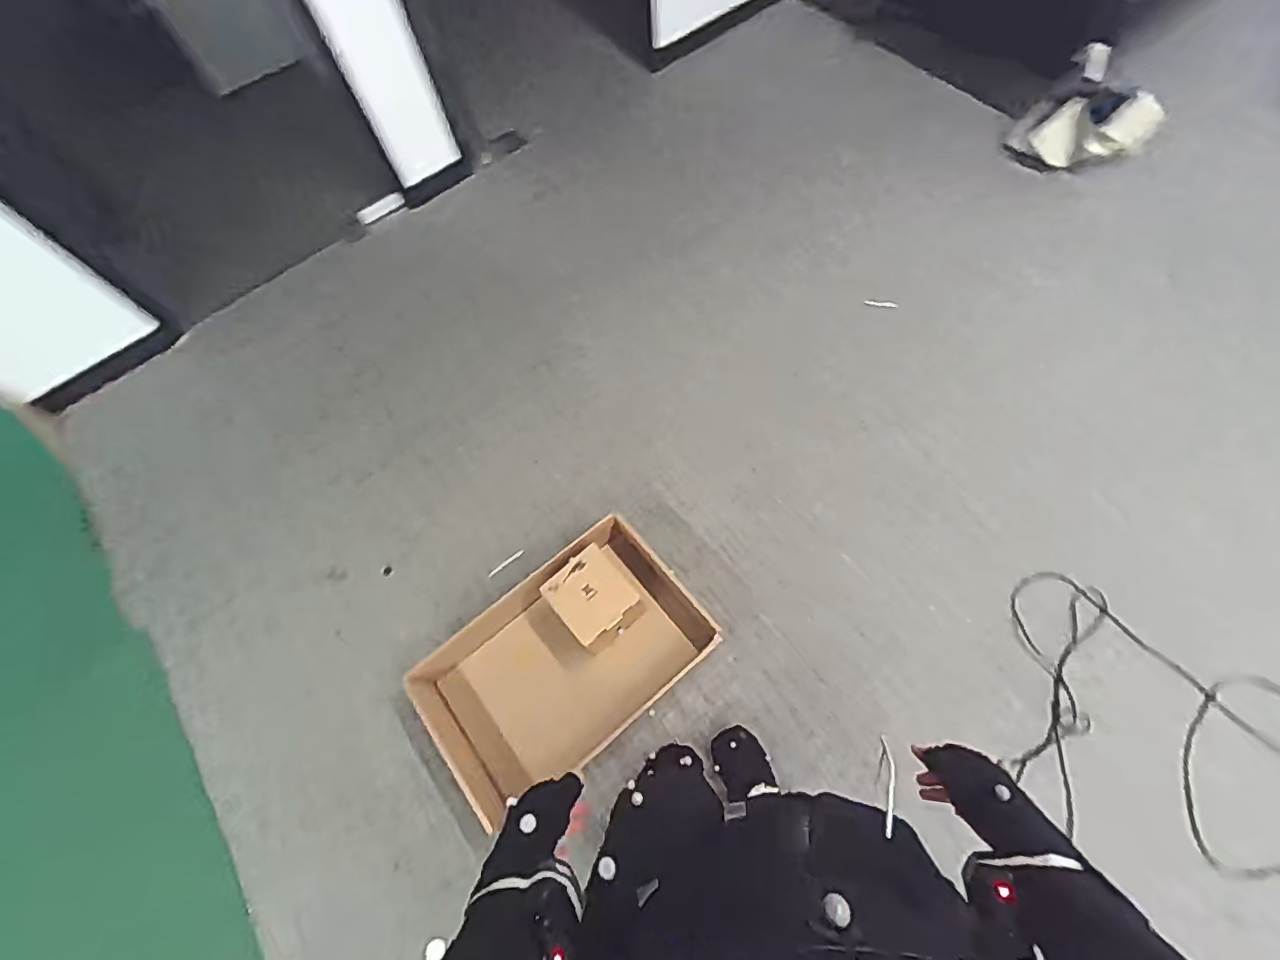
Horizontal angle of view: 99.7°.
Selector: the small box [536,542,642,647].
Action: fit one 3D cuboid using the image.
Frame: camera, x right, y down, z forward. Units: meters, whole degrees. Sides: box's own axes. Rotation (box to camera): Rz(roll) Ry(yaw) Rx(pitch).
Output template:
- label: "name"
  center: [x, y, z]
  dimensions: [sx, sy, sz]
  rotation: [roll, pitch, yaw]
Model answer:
- label: "small box"
  center: [-0.113, 0.278, 1.286]
  dimensions: [0.168, 0.176, 0.179]
  rotation: [-43, 70, -11]
